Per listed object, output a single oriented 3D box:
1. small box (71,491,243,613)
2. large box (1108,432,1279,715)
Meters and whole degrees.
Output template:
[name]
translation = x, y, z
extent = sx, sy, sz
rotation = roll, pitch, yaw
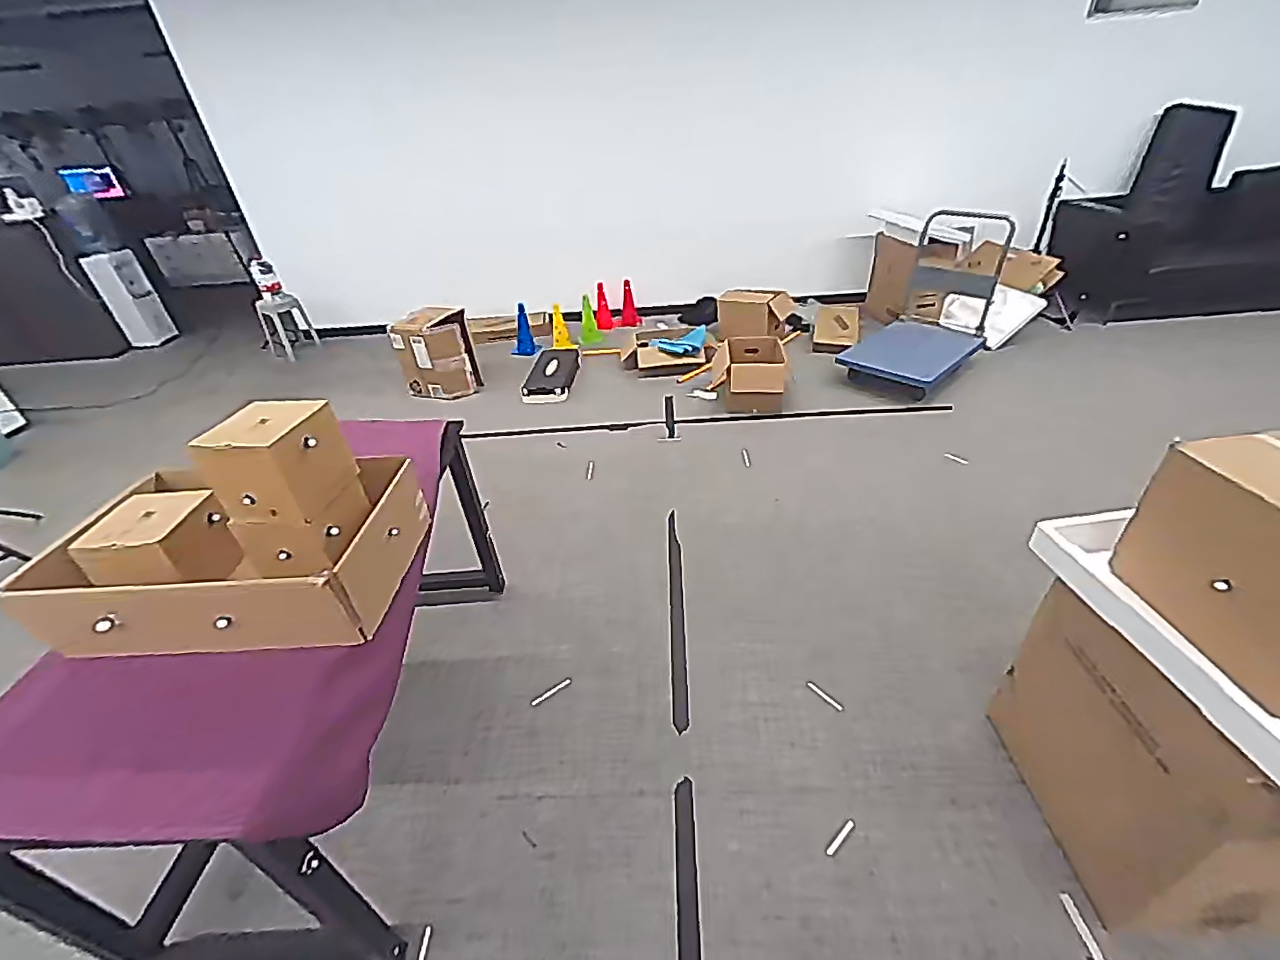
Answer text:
[small box]
translation = -0.946, 0.143, 1.087
extent = 0.168, 0.176, 0.179
rotation = -4, 34, -1
[large box]
translation = 1.152, 0.154, 0.921
extent = 0.320, 0.320, 0.408
rotation = -5, 33, -1
